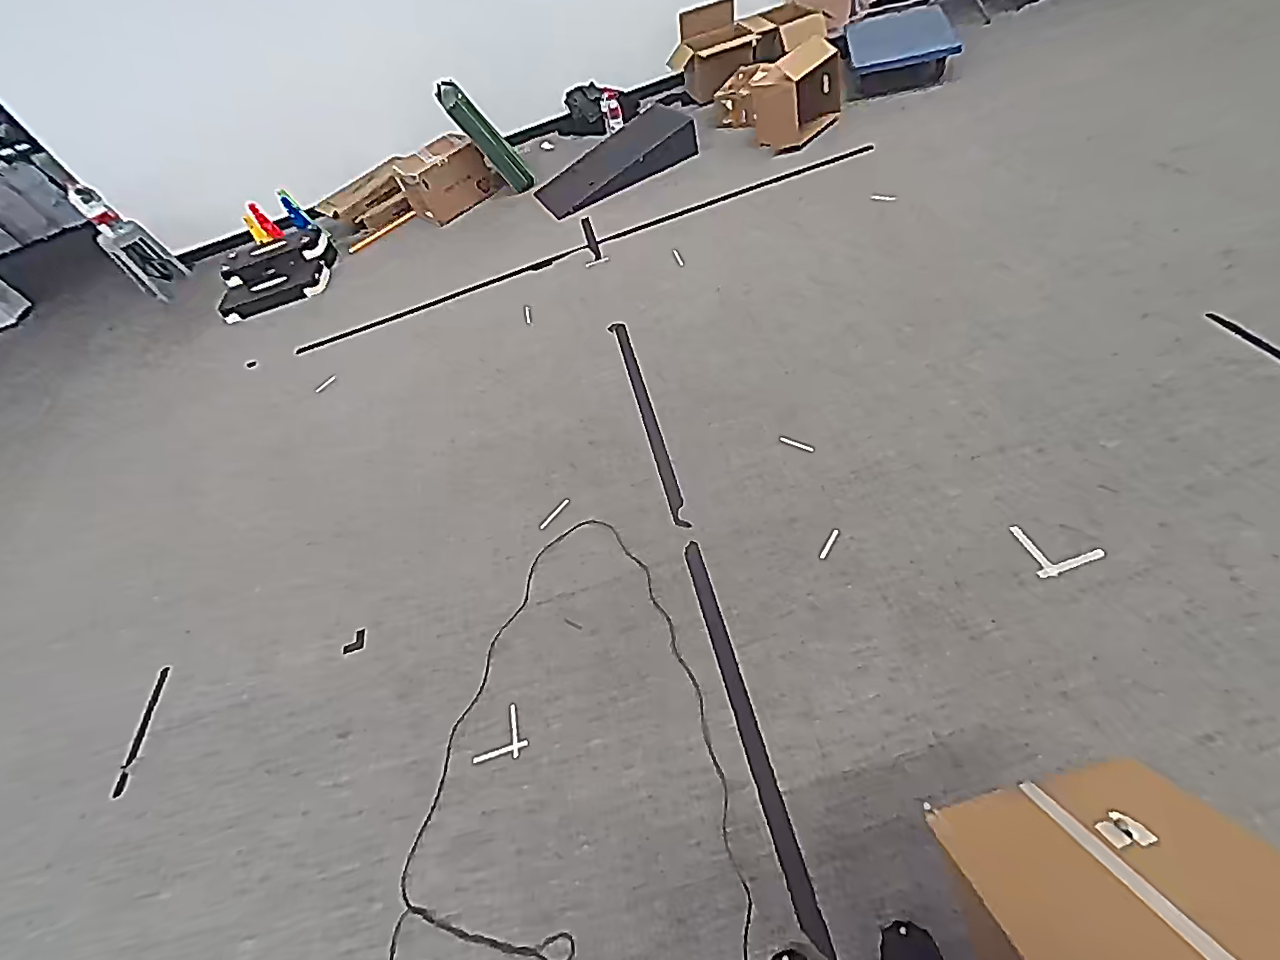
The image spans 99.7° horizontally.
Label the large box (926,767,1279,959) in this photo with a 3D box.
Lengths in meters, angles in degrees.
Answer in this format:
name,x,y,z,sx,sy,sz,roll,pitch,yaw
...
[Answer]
name,x,y,z,sx,sy,sz,roll,pitch,yaw
large box,0.619,0.619,0.621,0.320,0.408,0.320,-19,88,4
